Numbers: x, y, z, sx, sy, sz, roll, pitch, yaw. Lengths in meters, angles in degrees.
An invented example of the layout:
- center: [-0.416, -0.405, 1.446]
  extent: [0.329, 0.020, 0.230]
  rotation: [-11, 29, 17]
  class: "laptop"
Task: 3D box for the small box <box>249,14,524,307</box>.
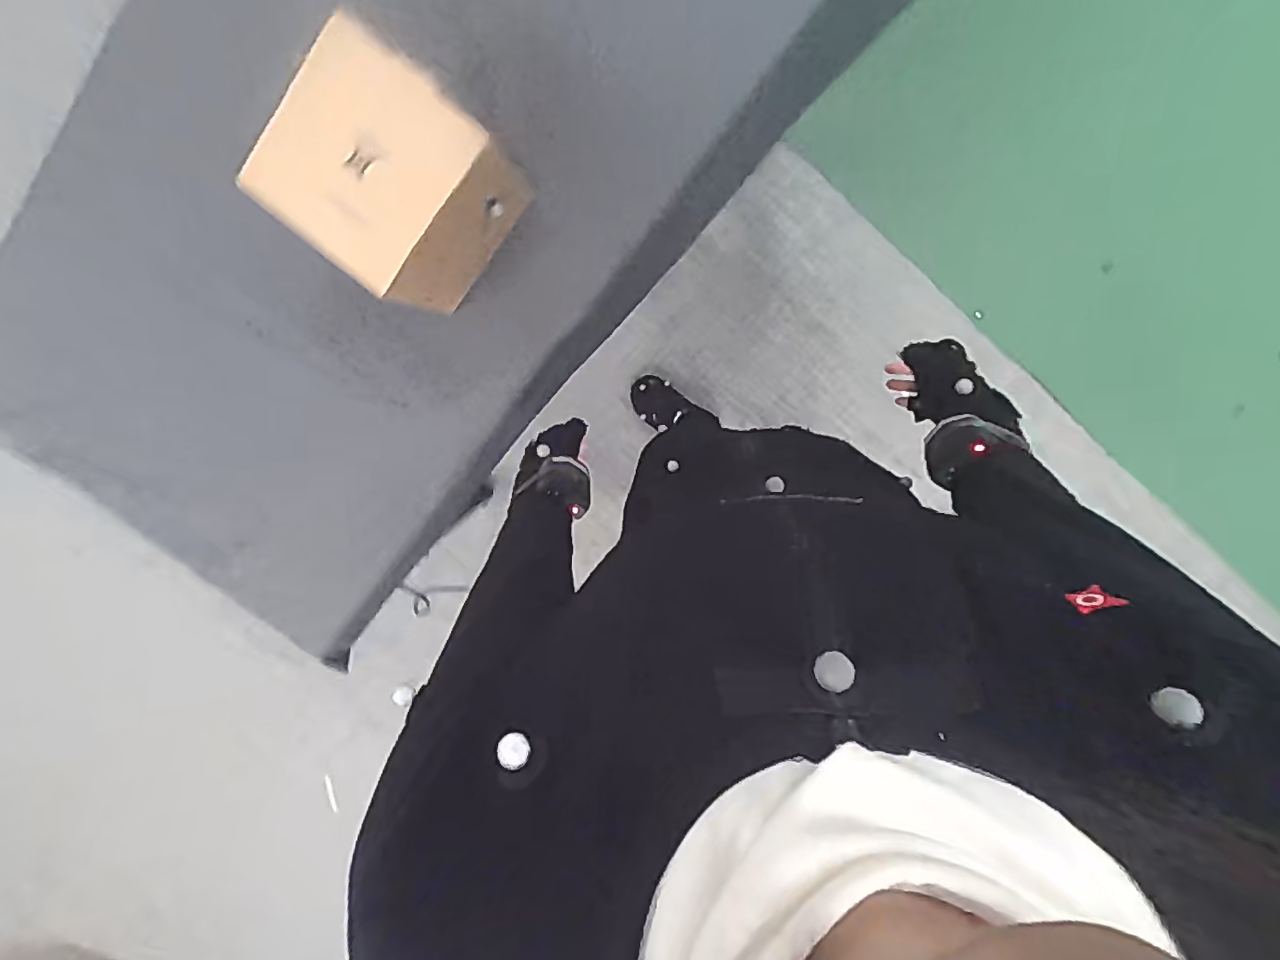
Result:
- center: [-0.241, -0.306, 0.566]
  extent: [0.168, 0.176, 0.179]
  rotation: [38, 102, -4]
  class: "small box"
